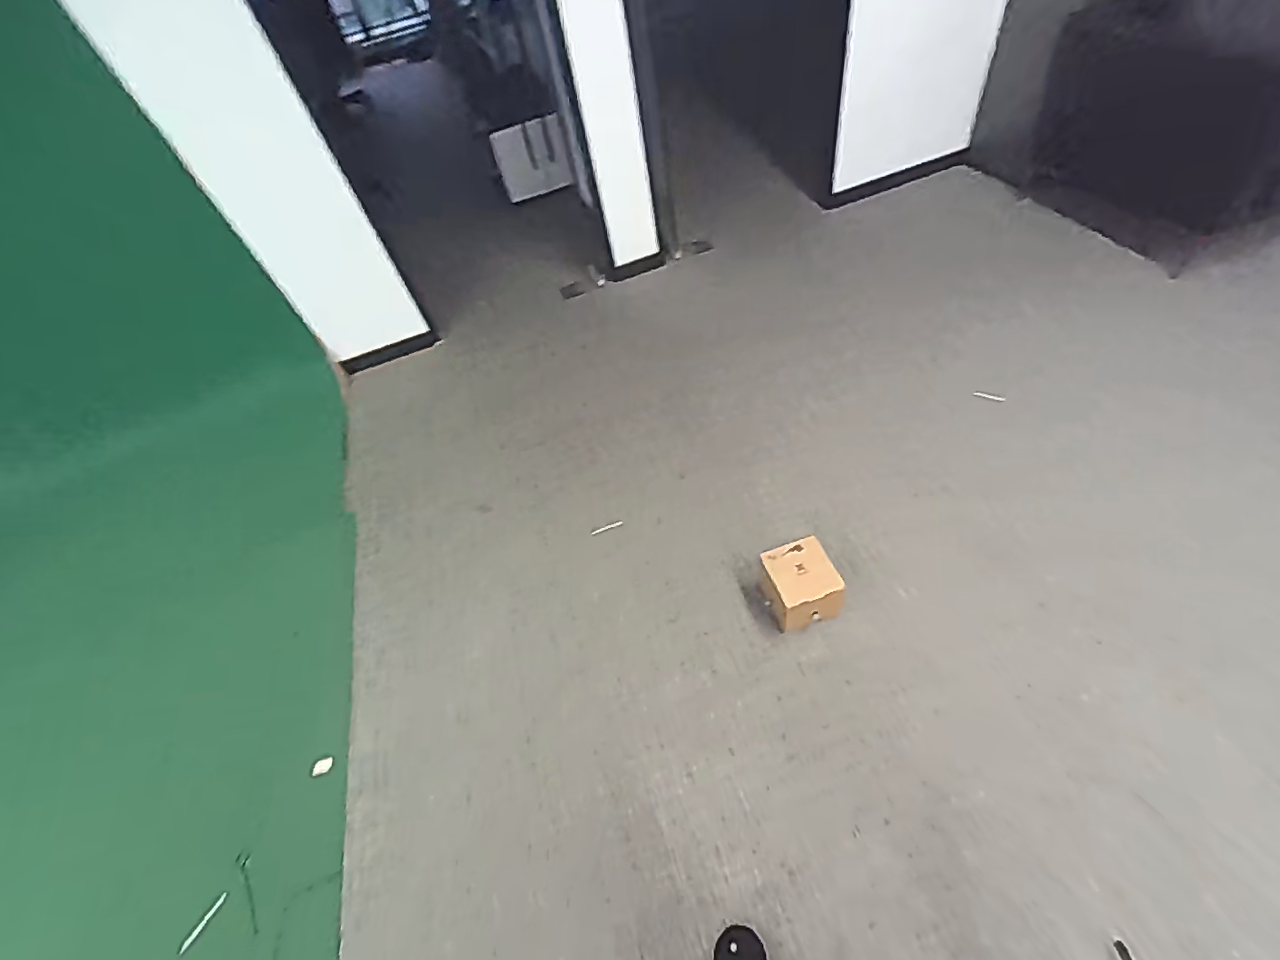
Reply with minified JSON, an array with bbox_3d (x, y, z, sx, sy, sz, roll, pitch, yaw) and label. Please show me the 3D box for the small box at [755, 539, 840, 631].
[{"bbox_3d":[0.430,0.298,1.497,0.168,0.176,0.179,-18,50,-3],"label":"small box"}]
